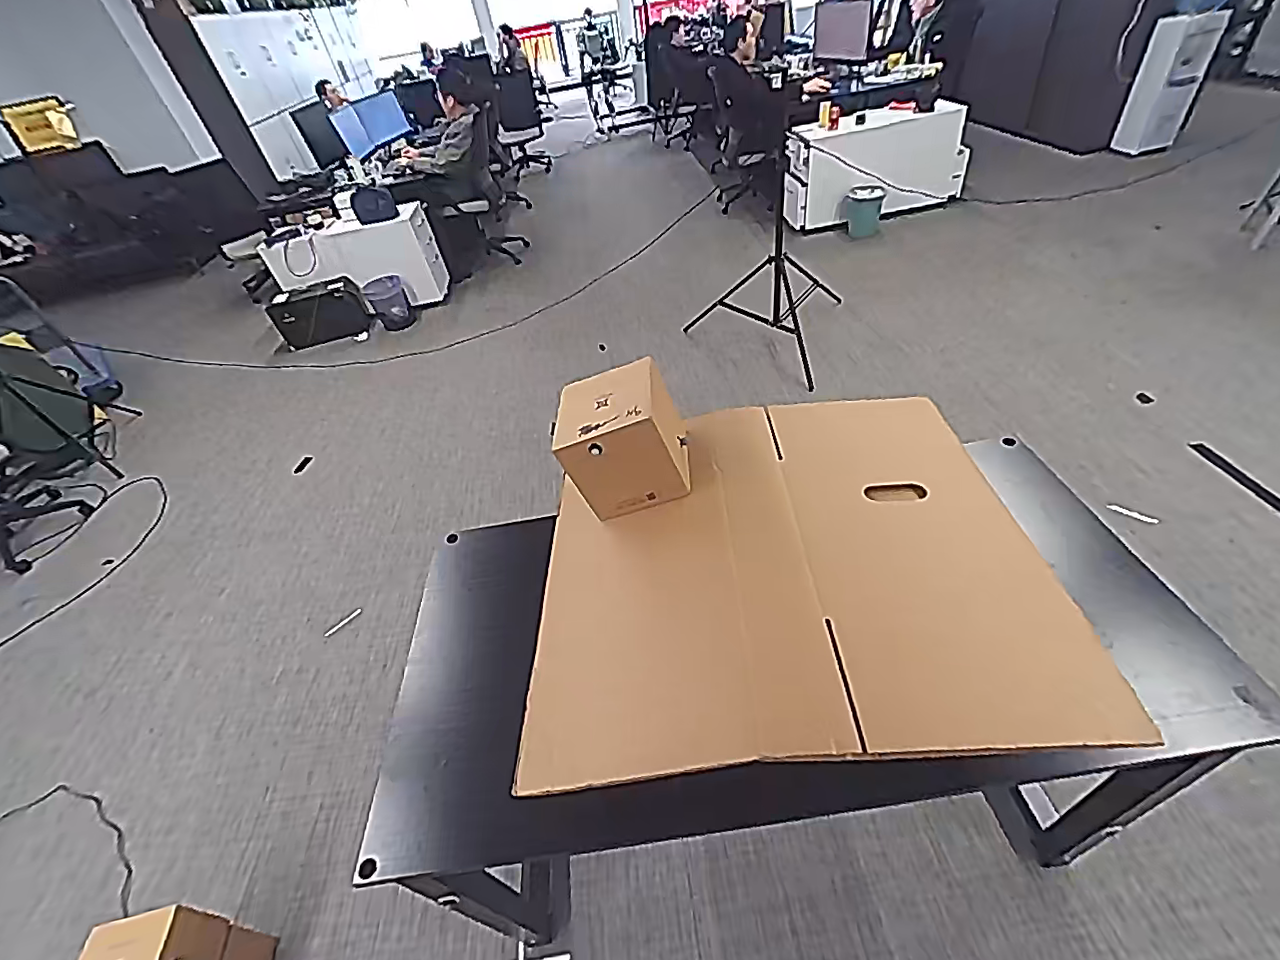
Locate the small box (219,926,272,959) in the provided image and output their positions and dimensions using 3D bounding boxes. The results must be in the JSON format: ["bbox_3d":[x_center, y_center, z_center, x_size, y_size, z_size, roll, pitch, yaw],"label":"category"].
[{"bbox_3d":[-0.933,1.095,1.156,0.168,0.176,0.179,-13,43,-1],"label":"small box"}]

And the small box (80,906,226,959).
[{"bbox_3d":[-0.960,0.973,1.051,0.168,0.176,0.179,-14,41,-4],"label":"small box"}]

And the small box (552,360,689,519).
[{"bbox_3d":[-0.024,-0.064,0.898,0.168,0.176,0.179,-18,39,16],"label":"small box"}]
